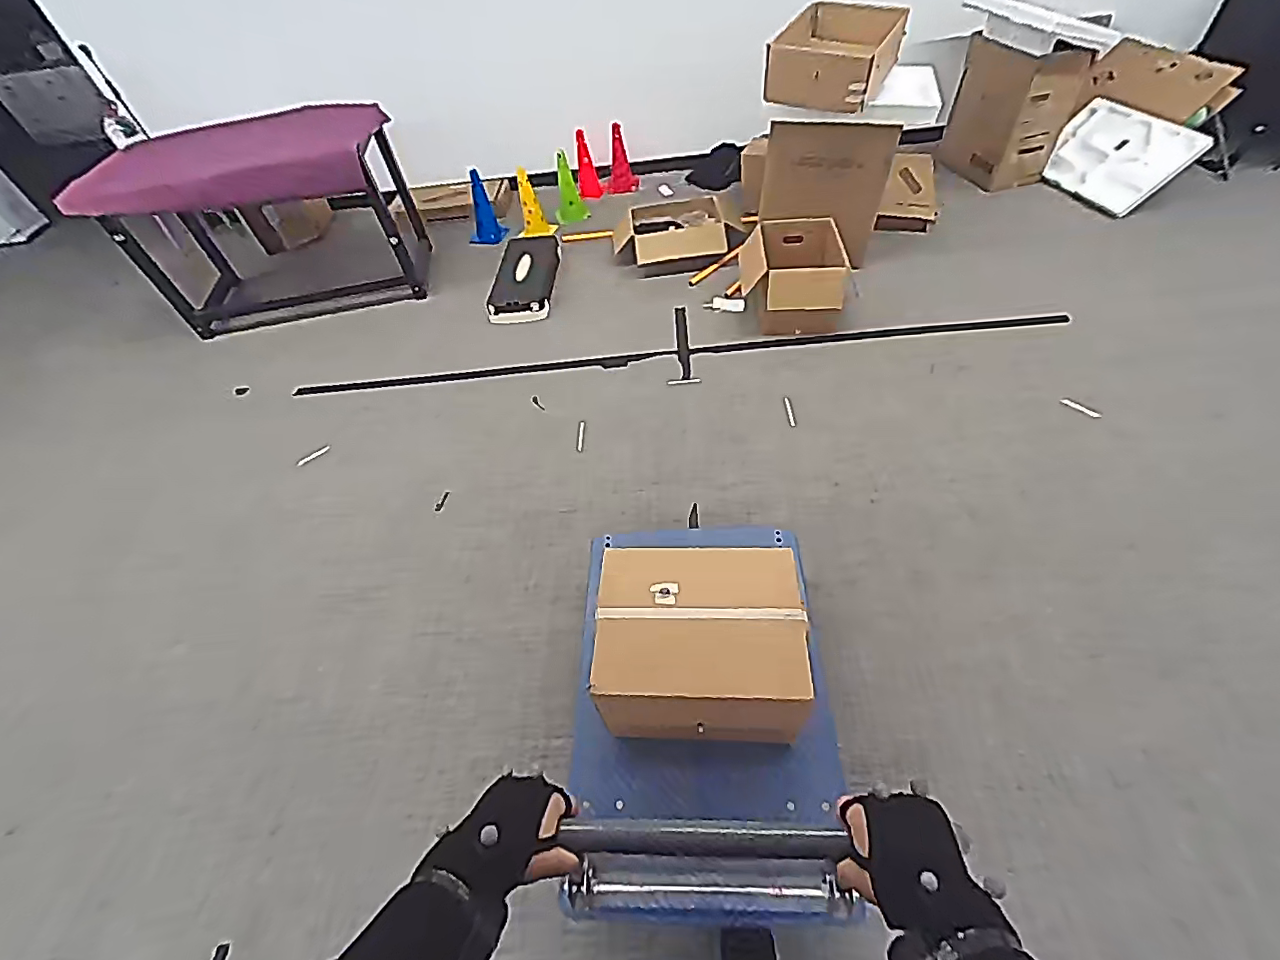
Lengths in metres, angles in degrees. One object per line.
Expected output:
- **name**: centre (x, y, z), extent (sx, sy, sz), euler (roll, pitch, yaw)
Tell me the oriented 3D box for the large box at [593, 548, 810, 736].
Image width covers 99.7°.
- **large box**: centre (0.131, 0.366, 1.194), extent (0.408, 0.320, 0.320), euler (-2, 50, 6)
